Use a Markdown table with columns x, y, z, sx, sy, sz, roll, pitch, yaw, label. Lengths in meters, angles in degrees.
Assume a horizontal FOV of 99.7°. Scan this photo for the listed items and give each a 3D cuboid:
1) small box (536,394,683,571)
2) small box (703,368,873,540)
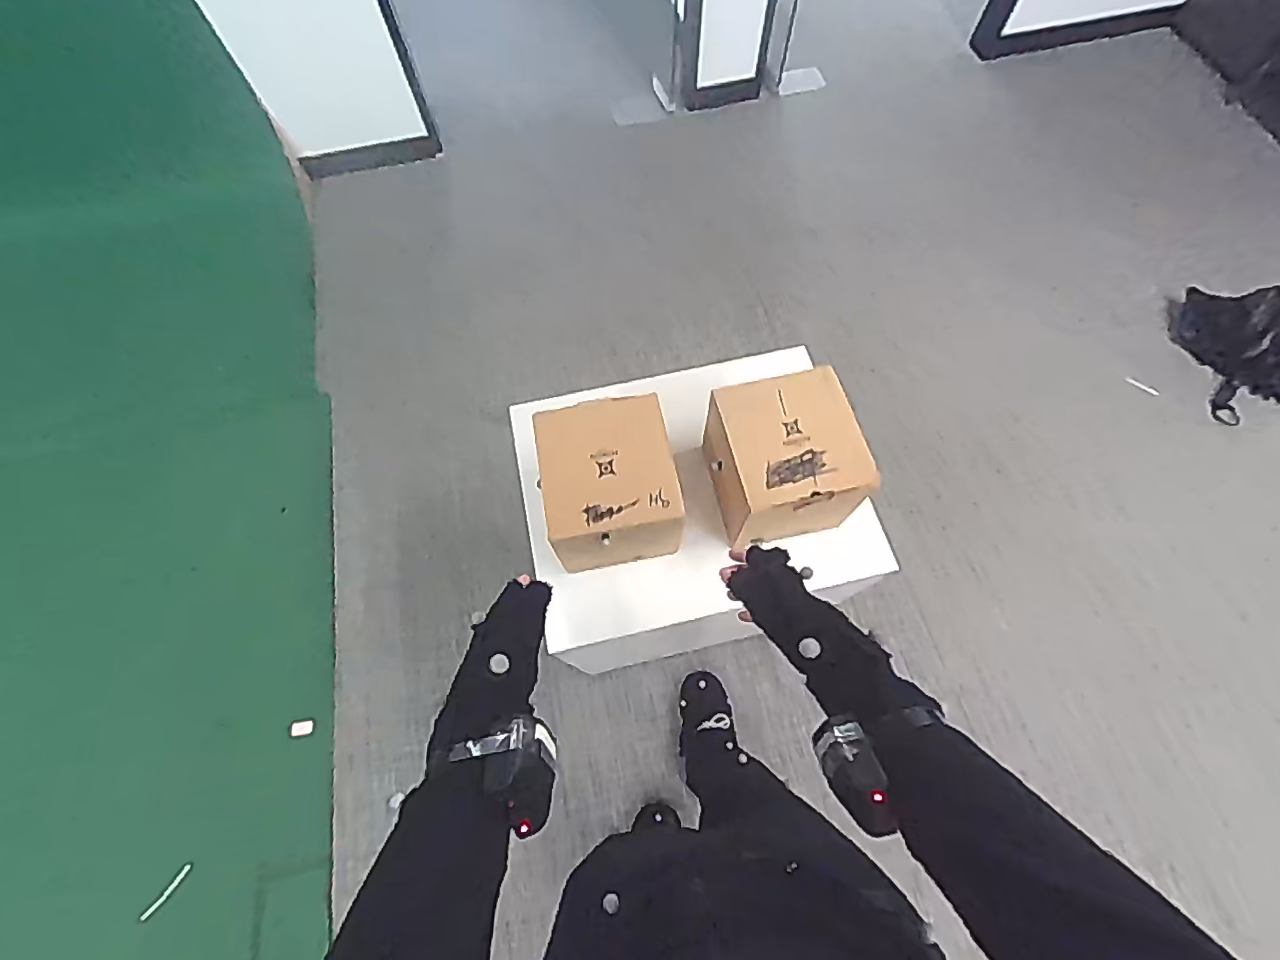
| x | y | z | sx | sy | sz | roll | pitch | yaw | label |
| --- | --- | --- | --- | --- | --- | --- | --- | --- | --- |
| -0.040 | 0.009 | 0.745 | 0.168 | 0.176 | 0.179 | -10 | 66 | -2 | small box |
| 0.191 | -0.025 | 0.754 | 0.168 | 0.176 | 0.179 | -11 | 66 | -3 | small box |
